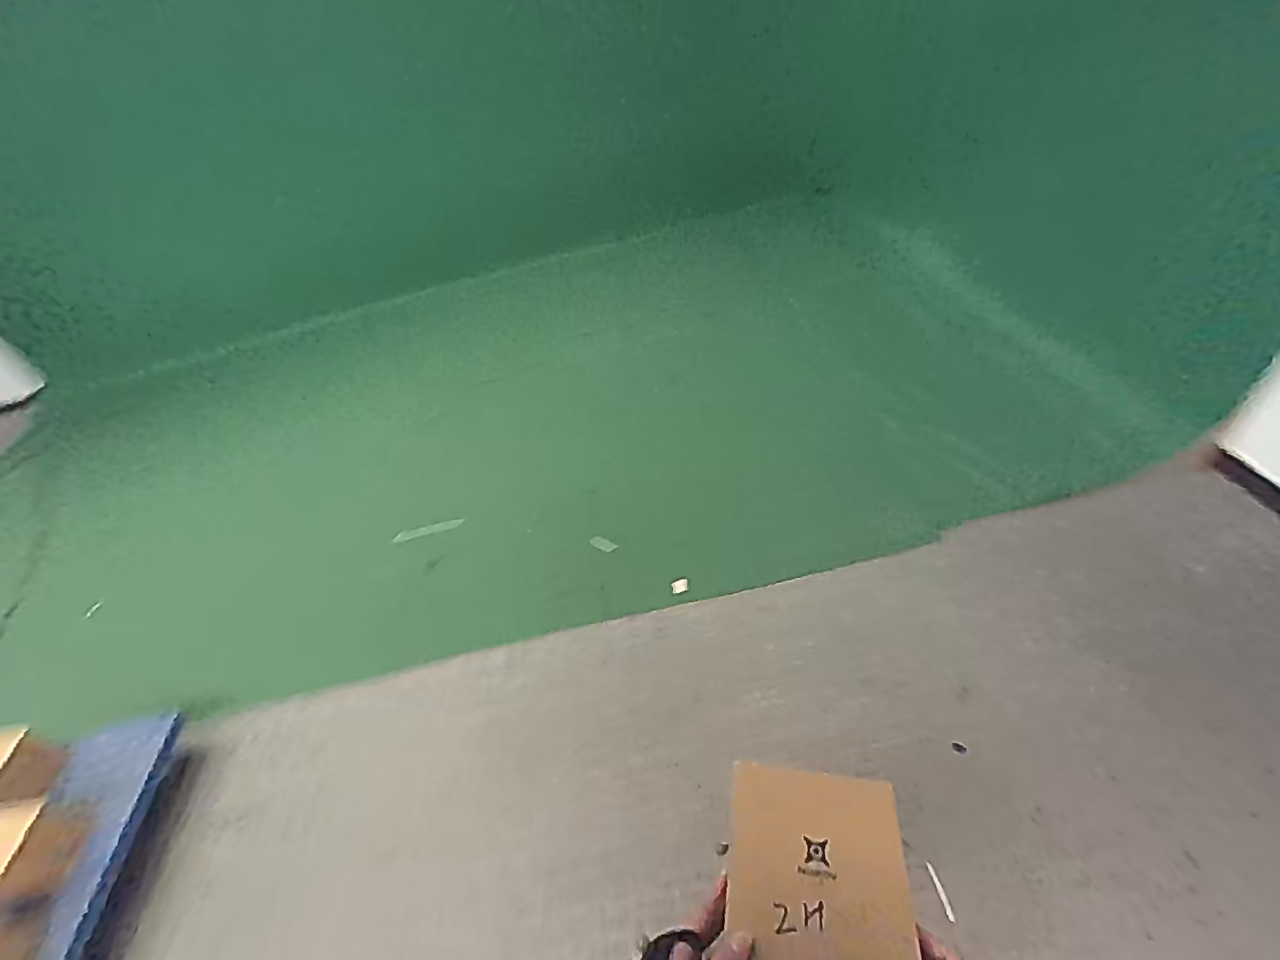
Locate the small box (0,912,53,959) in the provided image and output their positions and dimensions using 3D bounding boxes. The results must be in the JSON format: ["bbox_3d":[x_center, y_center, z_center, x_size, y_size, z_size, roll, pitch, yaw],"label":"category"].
[{"bbox_3d":[-1.607,1.159,1.301,0.179,0.176,0.168,-15,46,2],"label":"small box"}]

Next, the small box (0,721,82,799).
[{"bbox_3d":[-1.902,0.866,1.662,0.168,0.176,0.179,-11,46,5],"label":"small box"}]
